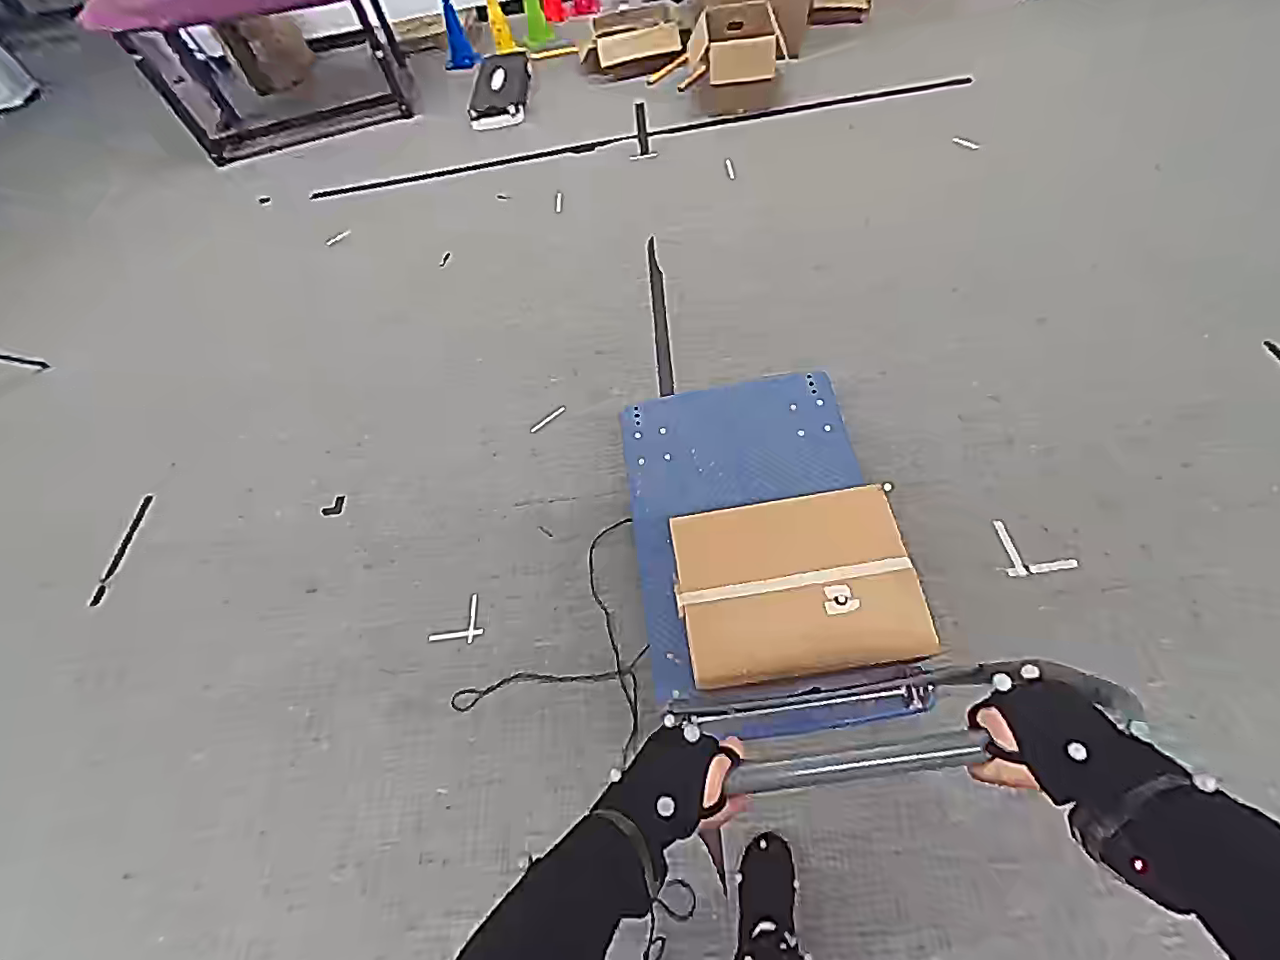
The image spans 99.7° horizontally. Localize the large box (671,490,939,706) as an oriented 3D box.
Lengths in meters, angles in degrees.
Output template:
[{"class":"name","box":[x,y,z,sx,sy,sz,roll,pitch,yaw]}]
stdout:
[{"class":"large box","box":[0.289,0.253,1.082,0.408,0.320,0.320,-10,65,3]}]
